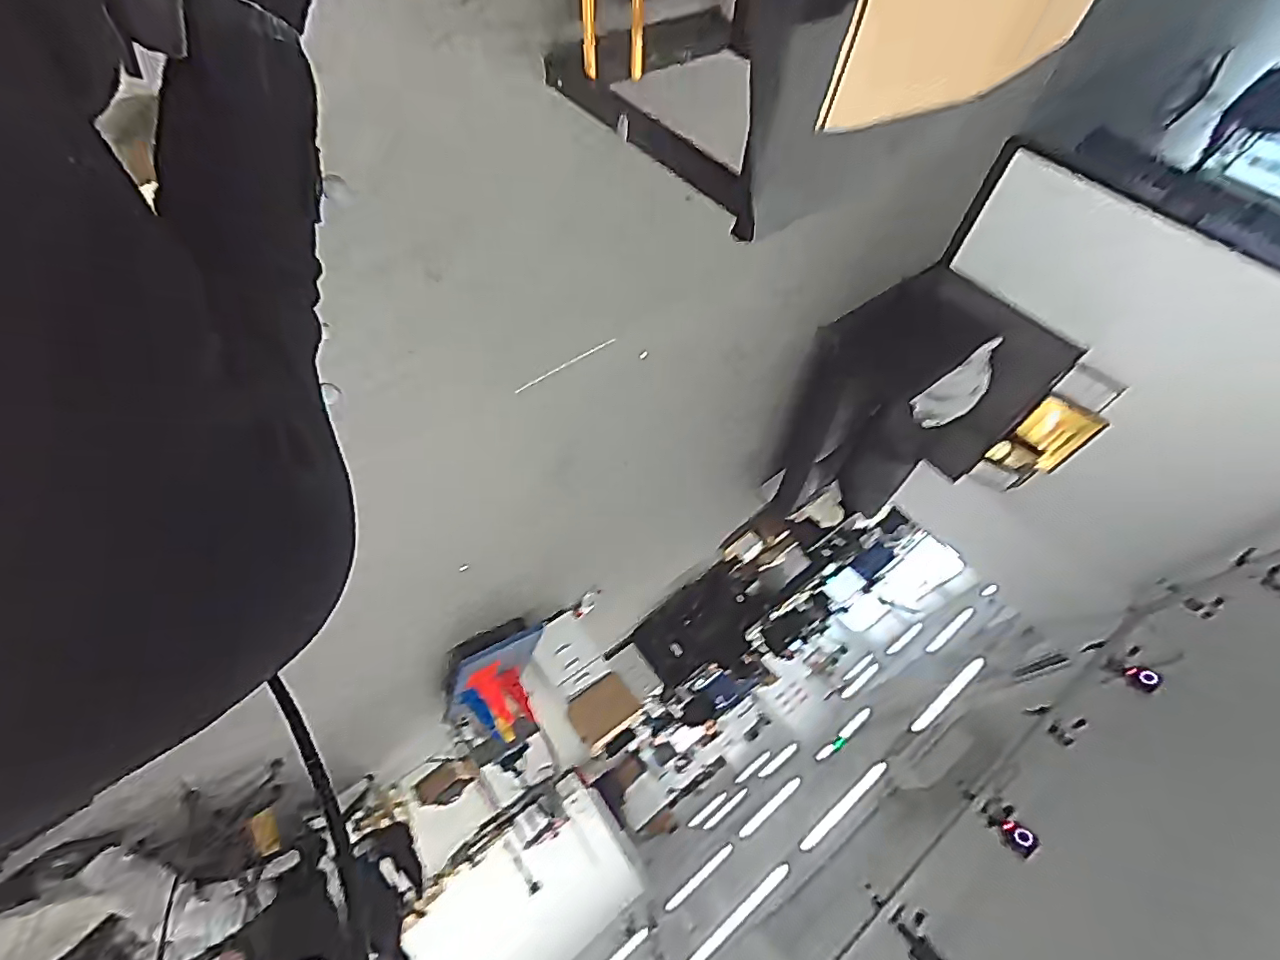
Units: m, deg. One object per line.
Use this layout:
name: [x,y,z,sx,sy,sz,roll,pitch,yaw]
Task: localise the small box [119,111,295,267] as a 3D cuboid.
small box: [-0.796,-0.541,1.000,0.179,0.176,0.168,-35,156,-16]
